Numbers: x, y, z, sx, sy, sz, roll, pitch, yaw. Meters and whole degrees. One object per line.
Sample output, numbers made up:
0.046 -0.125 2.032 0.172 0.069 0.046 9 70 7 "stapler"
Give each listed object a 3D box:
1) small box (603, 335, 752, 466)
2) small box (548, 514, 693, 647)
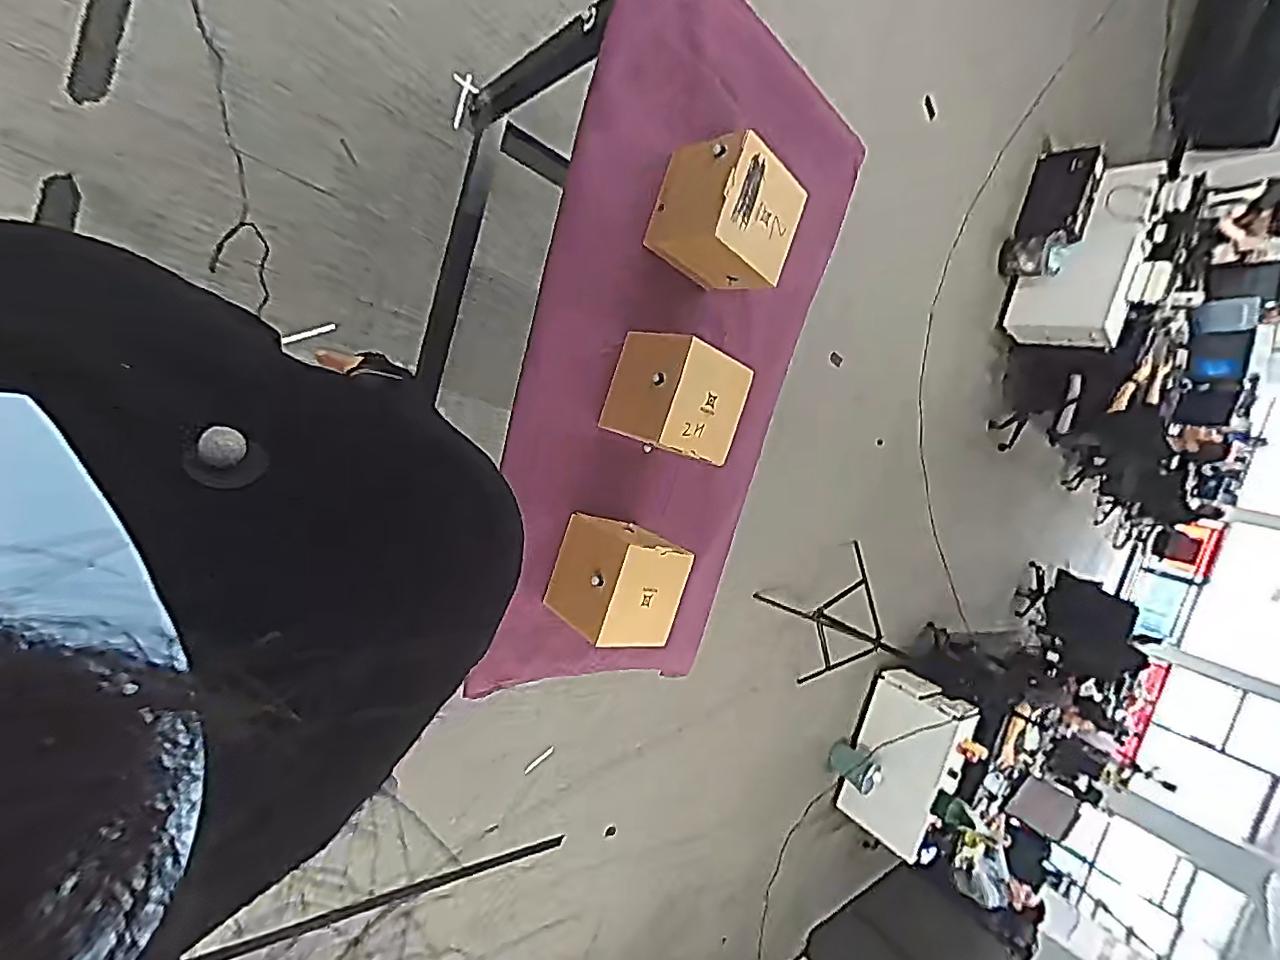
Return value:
0.060 -0.142 0.942 0.168 0.176 0.179 17 94 -42 "small box"
-0.041 0.177 0.962 0.168 0.176 0.179 17 92 -43 "small box"
